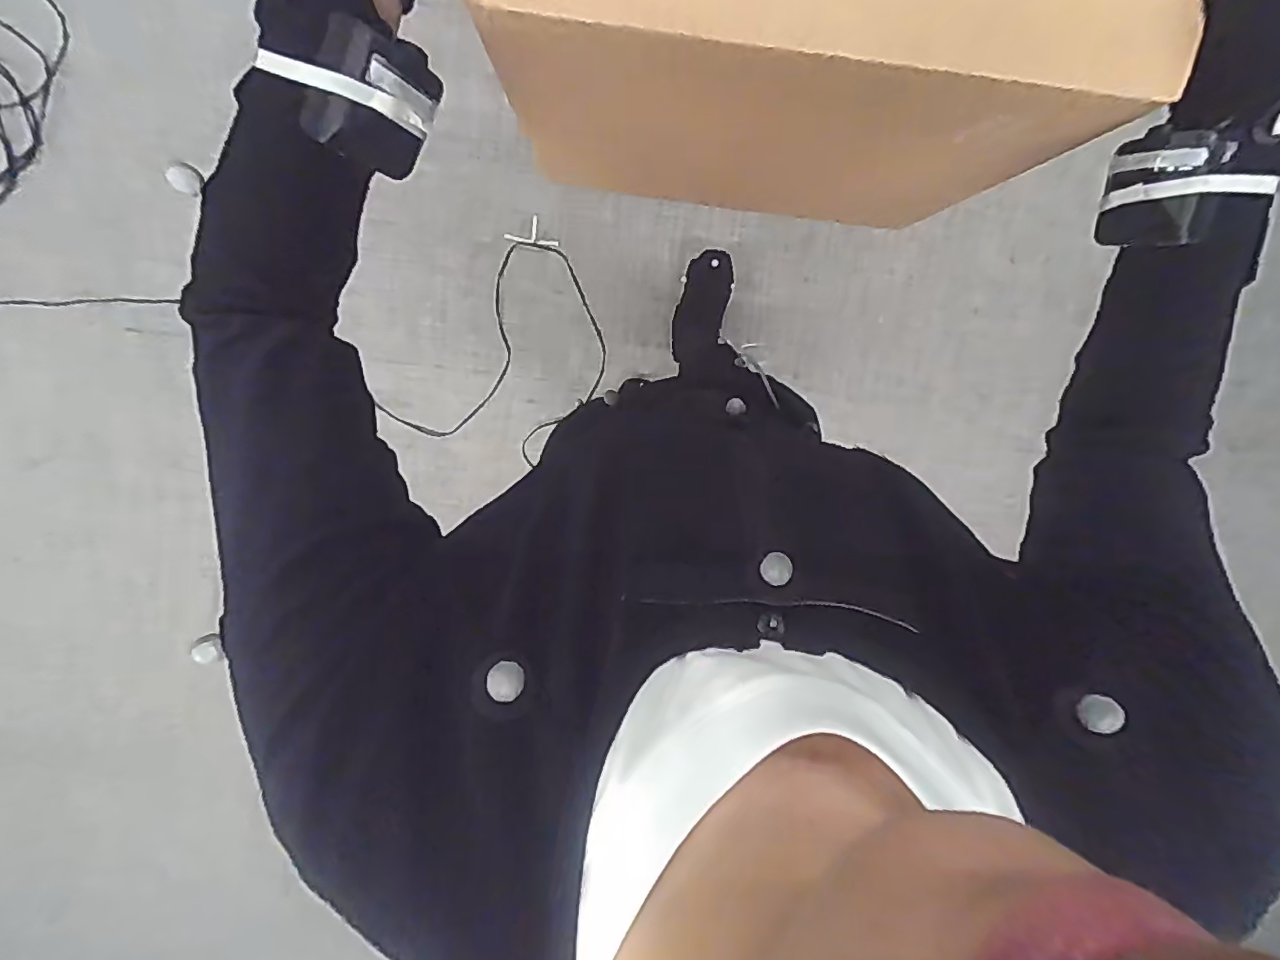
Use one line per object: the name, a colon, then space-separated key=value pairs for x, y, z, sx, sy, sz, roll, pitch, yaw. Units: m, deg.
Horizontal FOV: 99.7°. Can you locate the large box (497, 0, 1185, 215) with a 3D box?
large box: x=0.118 y=-0.428 z=0.422 sx=0.408 sy=0.320 sz=0.320 roll=5 pitch=103 yaw=-4
